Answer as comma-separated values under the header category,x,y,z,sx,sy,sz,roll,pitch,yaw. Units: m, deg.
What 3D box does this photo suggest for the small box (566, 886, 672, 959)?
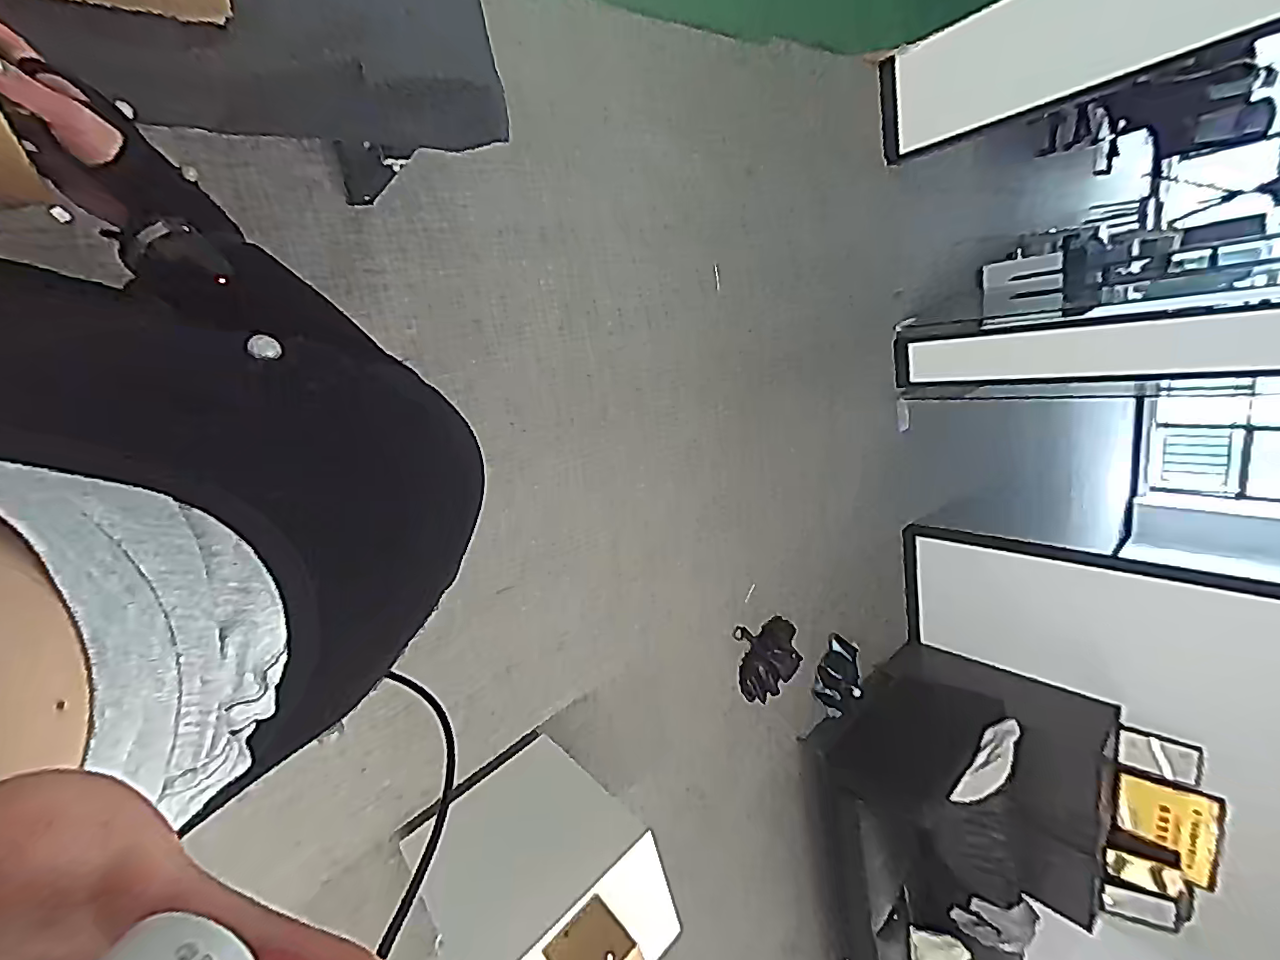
category,x,y,z,sx,sy,sz,roll,pitch,yaw
small box,-0.043,1.101,1.248,0.168,0.176,0.179,-31,115,-33
